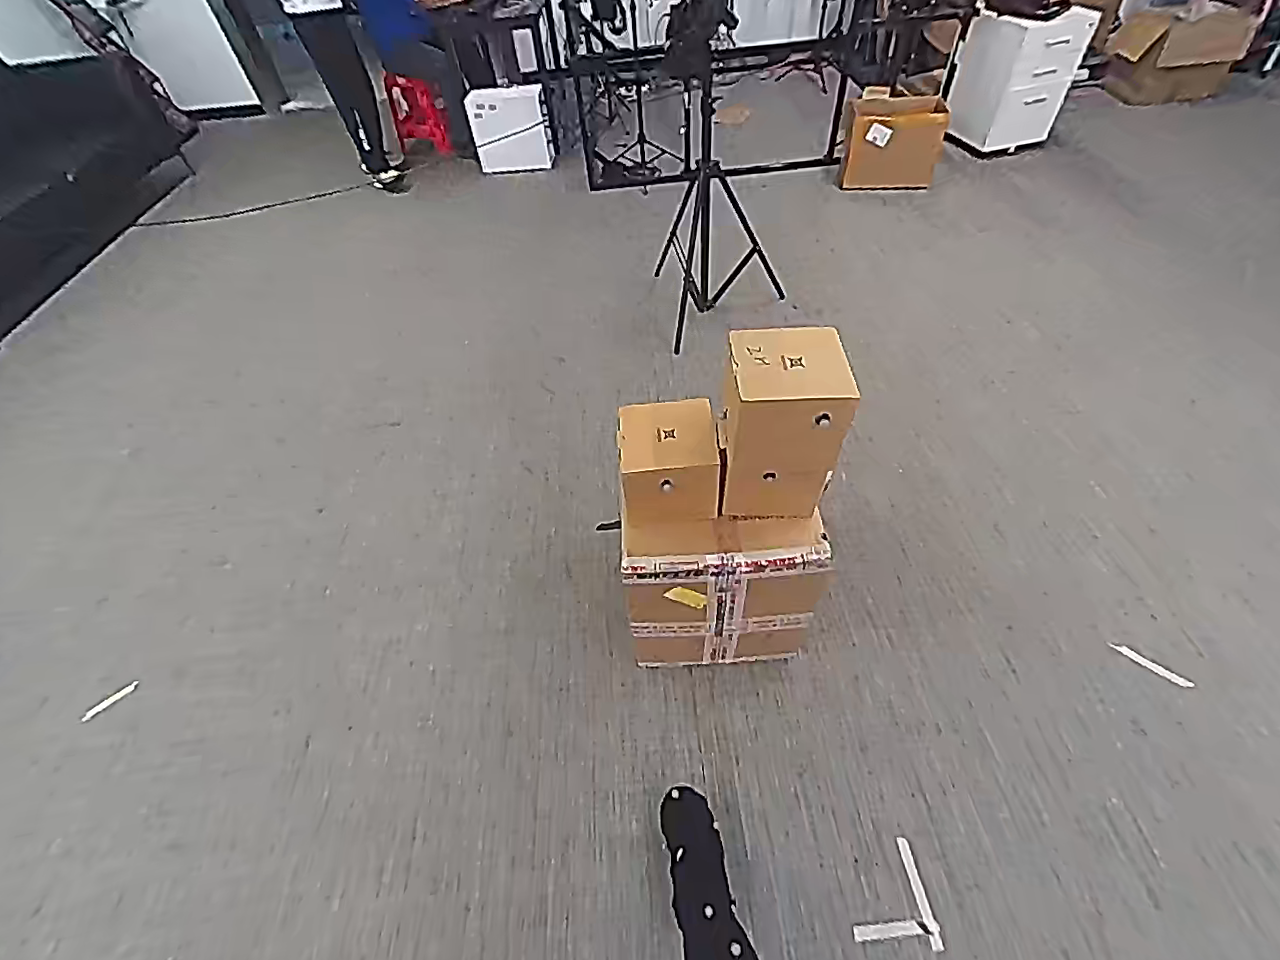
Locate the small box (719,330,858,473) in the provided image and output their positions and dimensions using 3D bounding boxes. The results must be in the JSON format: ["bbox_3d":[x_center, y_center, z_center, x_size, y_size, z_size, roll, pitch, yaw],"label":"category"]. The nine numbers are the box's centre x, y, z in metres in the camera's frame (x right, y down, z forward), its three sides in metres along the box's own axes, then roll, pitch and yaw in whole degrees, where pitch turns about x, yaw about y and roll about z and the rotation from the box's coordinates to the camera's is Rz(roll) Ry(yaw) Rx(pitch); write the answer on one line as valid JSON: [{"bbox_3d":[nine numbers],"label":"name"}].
[{"bbox_3d":[0.228,-0.124,0.883,0.179,0.176,0.168,-2,51,2],"label":"small box"}]

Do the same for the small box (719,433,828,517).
[{"bbox_3d":[0.242,-0.041,1.027,0.179,0.176,0.168,1,52,4],"label":"small box"}]
